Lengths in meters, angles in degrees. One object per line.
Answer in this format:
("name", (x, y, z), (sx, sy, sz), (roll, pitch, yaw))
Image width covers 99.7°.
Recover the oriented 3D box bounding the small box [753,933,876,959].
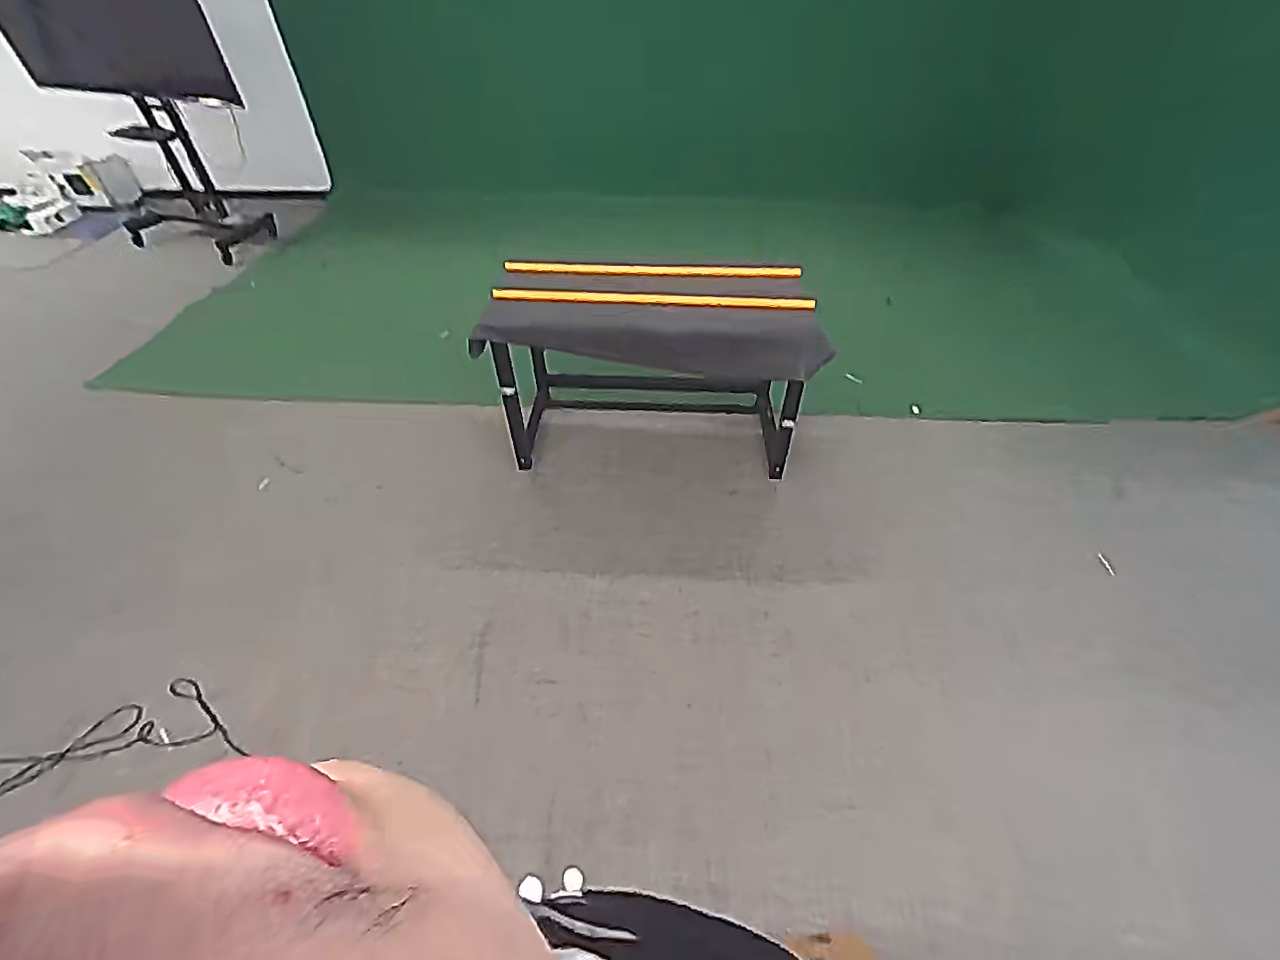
("small box", (0.262, 0.757, 0.719), (0.168, 0.179, 0.176), (-8, 72, -2))
